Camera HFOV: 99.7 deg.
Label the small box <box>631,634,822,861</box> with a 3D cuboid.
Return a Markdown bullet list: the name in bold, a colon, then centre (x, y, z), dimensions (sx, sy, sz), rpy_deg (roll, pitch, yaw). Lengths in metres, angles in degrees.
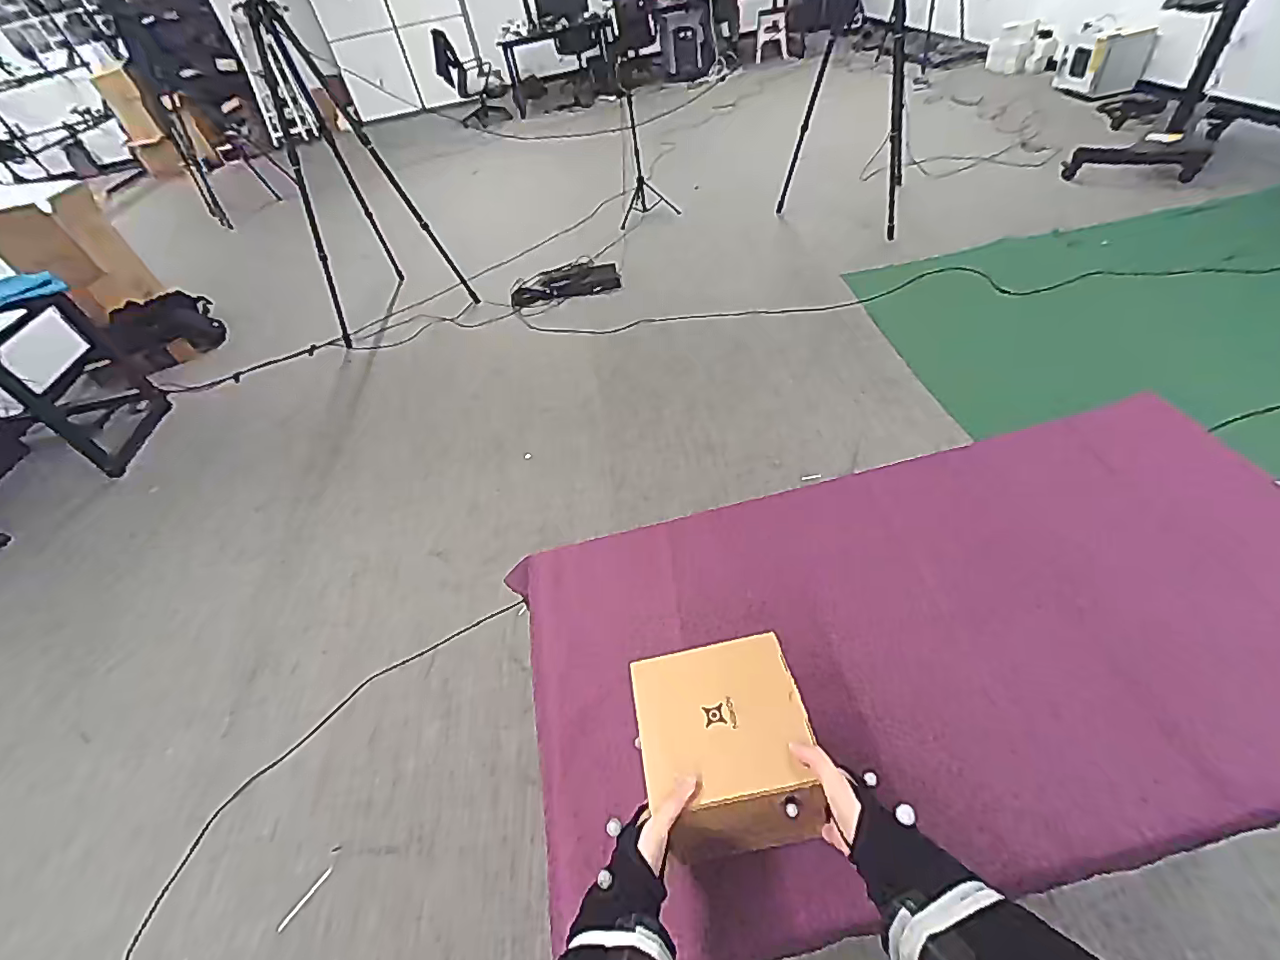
- **small box**: centre (0.099, 0.311, 0.626), dimensions (0.179, 0.176, 0.168), rpy_deg (-13, 39, 2)
